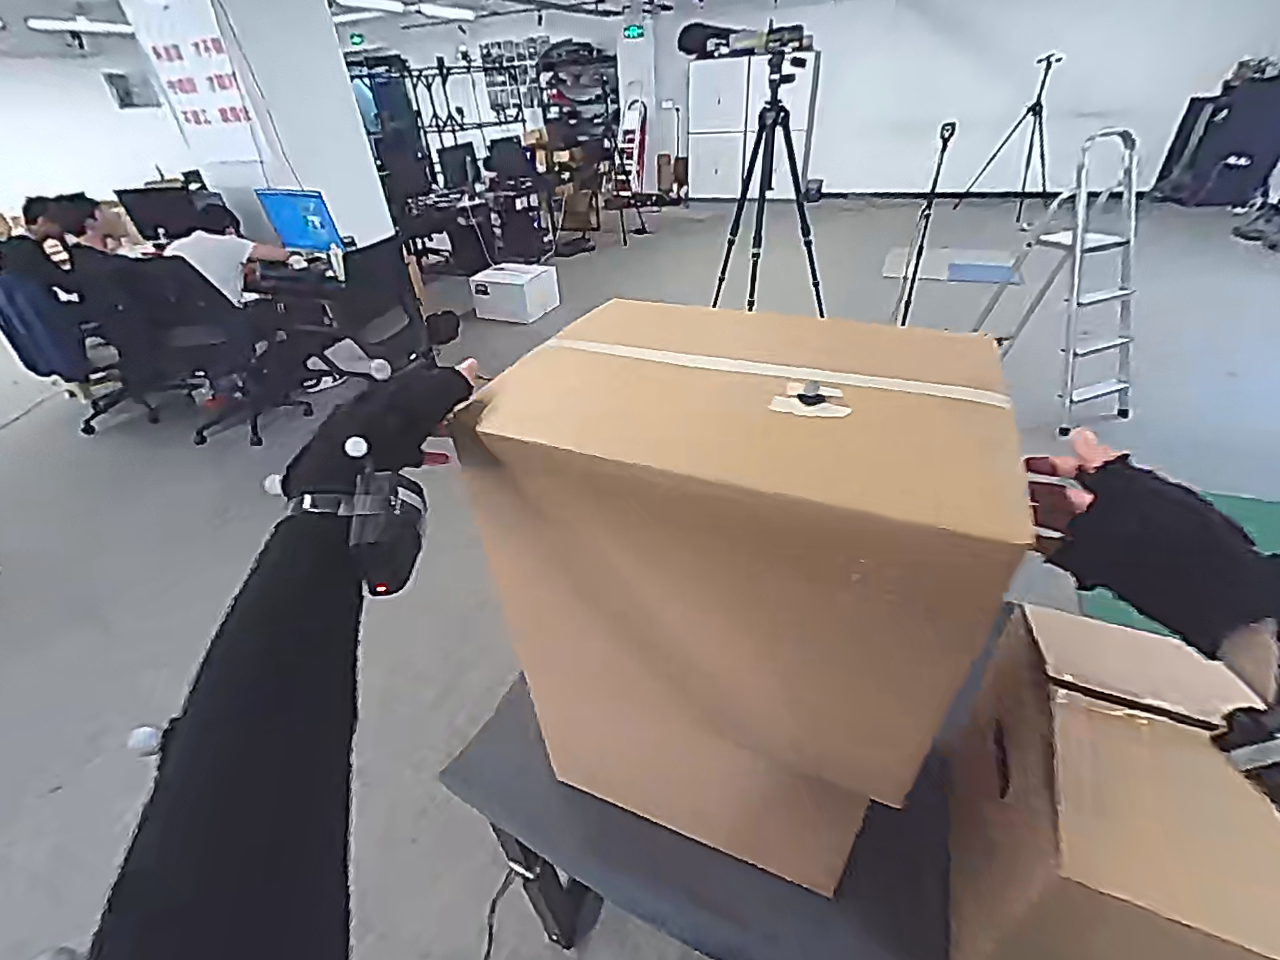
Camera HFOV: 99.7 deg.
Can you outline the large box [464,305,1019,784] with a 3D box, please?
[{"bbox_3d":[0.097,0.033,0.570,0.408,0.320,0.320,14,40,20],"label":"large box"}]
